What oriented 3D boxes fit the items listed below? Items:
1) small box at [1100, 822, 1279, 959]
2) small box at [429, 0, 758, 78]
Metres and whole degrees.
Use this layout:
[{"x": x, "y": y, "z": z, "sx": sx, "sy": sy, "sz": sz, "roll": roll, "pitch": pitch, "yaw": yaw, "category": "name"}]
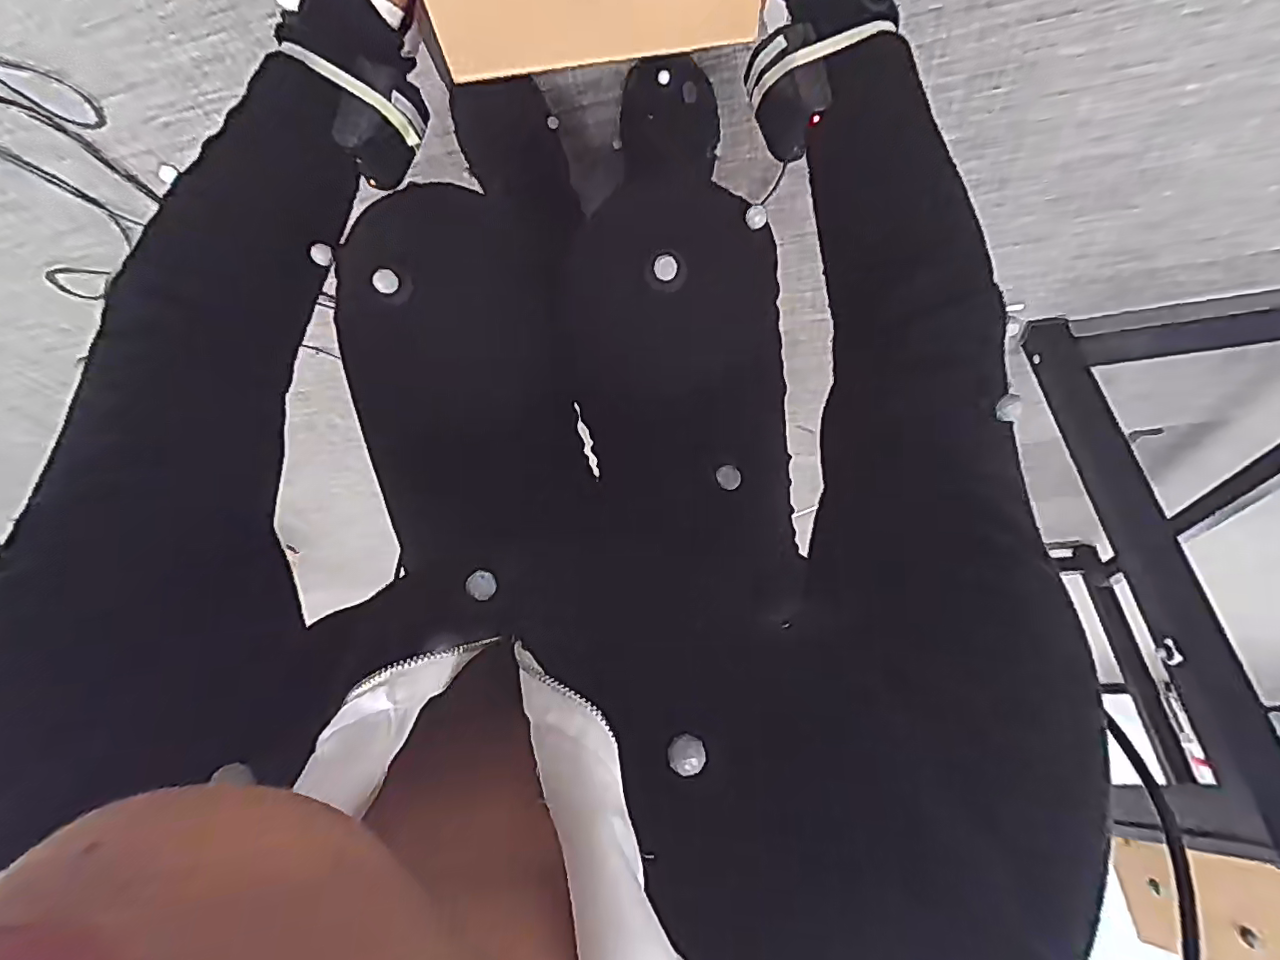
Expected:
[{"x": 0.904, "y": 0.652, "z": 0.868, "sx": 0.179, "sy": 0.176, "sz": 0.168, "roll": -2, "pitch": 151, "yaw": 1, "category": "small box"}, {"x": -0.030, "y": -0.338, "z": 0.255, "sx": 0.168, "sy": 0.176, "sz": 0.179, "roll": -3, "pitch": 152, "yaw": 5, "category": "small box"}]
